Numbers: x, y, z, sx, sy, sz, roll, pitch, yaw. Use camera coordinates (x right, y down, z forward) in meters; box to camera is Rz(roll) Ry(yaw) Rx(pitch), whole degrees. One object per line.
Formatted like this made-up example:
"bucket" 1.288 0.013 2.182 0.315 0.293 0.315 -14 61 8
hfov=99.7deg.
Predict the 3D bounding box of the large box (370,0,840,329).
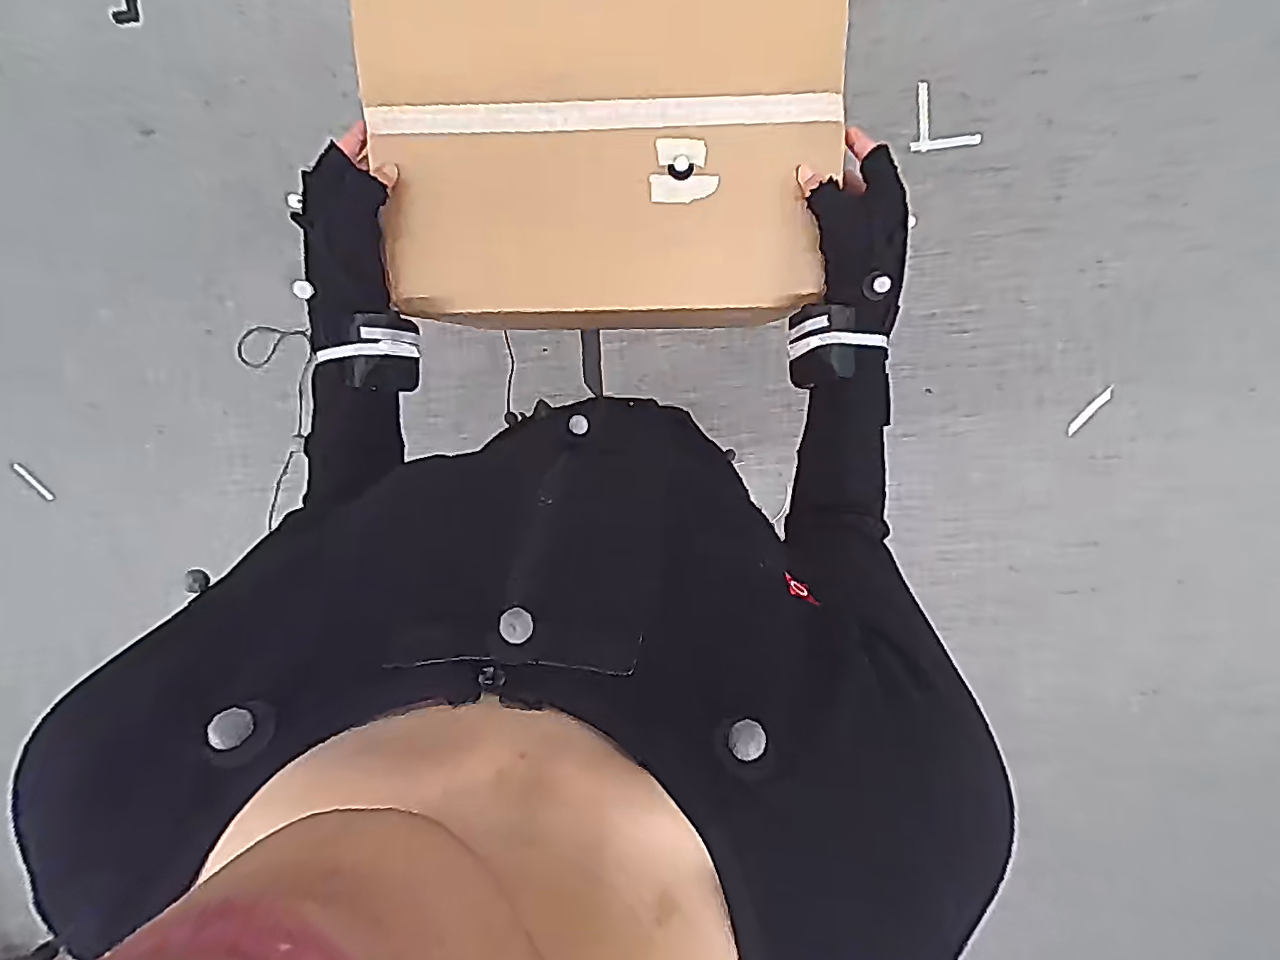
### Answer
"large box" -0.028 -0.347 0.616 0.408 0.320 0.320 -1 103 1
